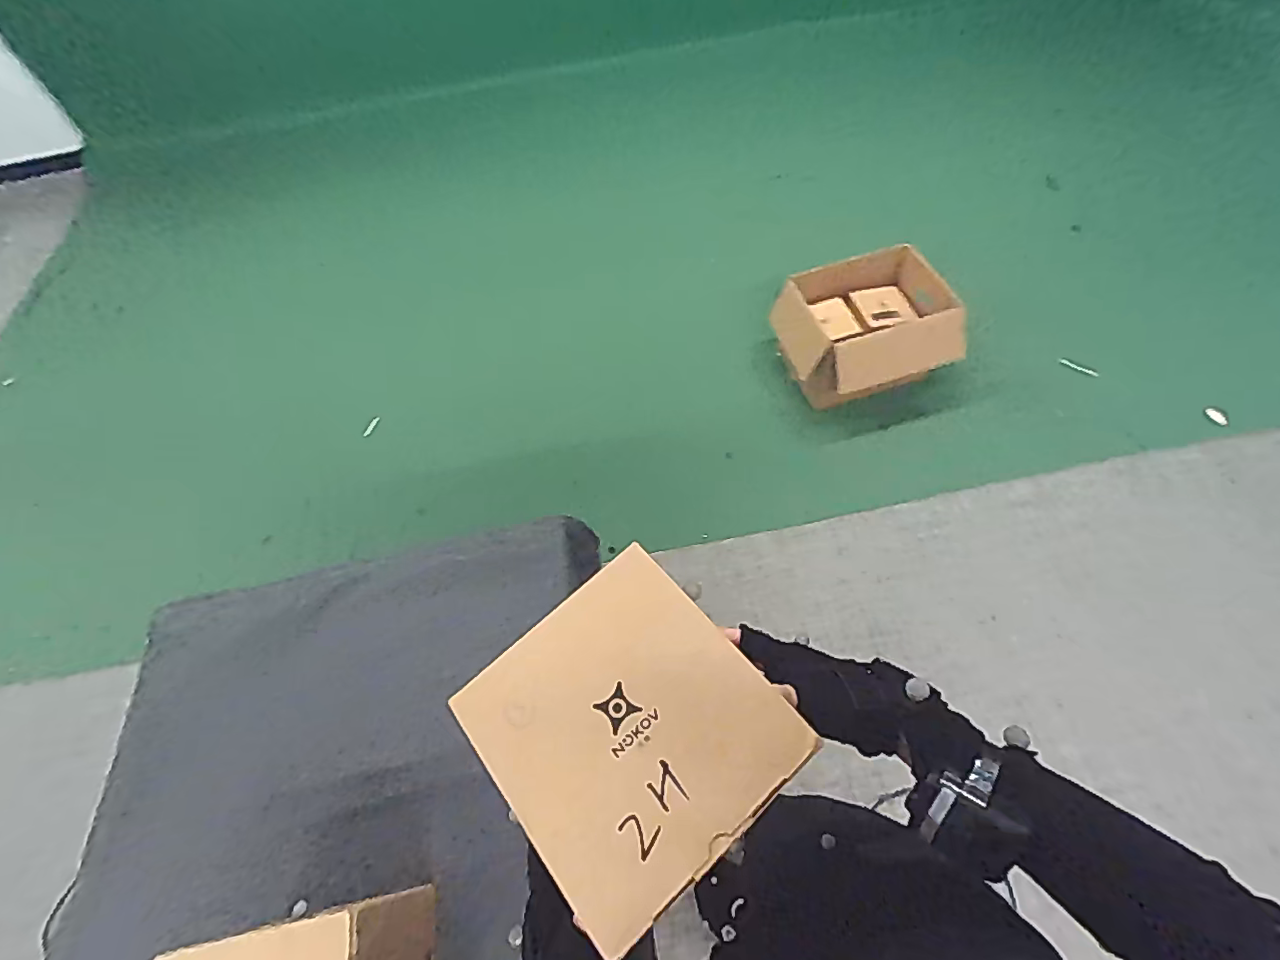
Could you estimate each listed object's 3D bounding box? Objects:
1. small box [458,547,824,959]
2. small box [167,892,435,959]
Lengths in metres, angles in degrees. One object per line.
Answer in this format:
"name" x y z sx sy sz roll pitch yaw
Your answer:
"small box" 0.004 0.187 0.404 0.168 0.176 0.179 -39 64 -11
"small box" -0.299 0.497 0.485 0.179 0.176 0.168 -14 58 0
